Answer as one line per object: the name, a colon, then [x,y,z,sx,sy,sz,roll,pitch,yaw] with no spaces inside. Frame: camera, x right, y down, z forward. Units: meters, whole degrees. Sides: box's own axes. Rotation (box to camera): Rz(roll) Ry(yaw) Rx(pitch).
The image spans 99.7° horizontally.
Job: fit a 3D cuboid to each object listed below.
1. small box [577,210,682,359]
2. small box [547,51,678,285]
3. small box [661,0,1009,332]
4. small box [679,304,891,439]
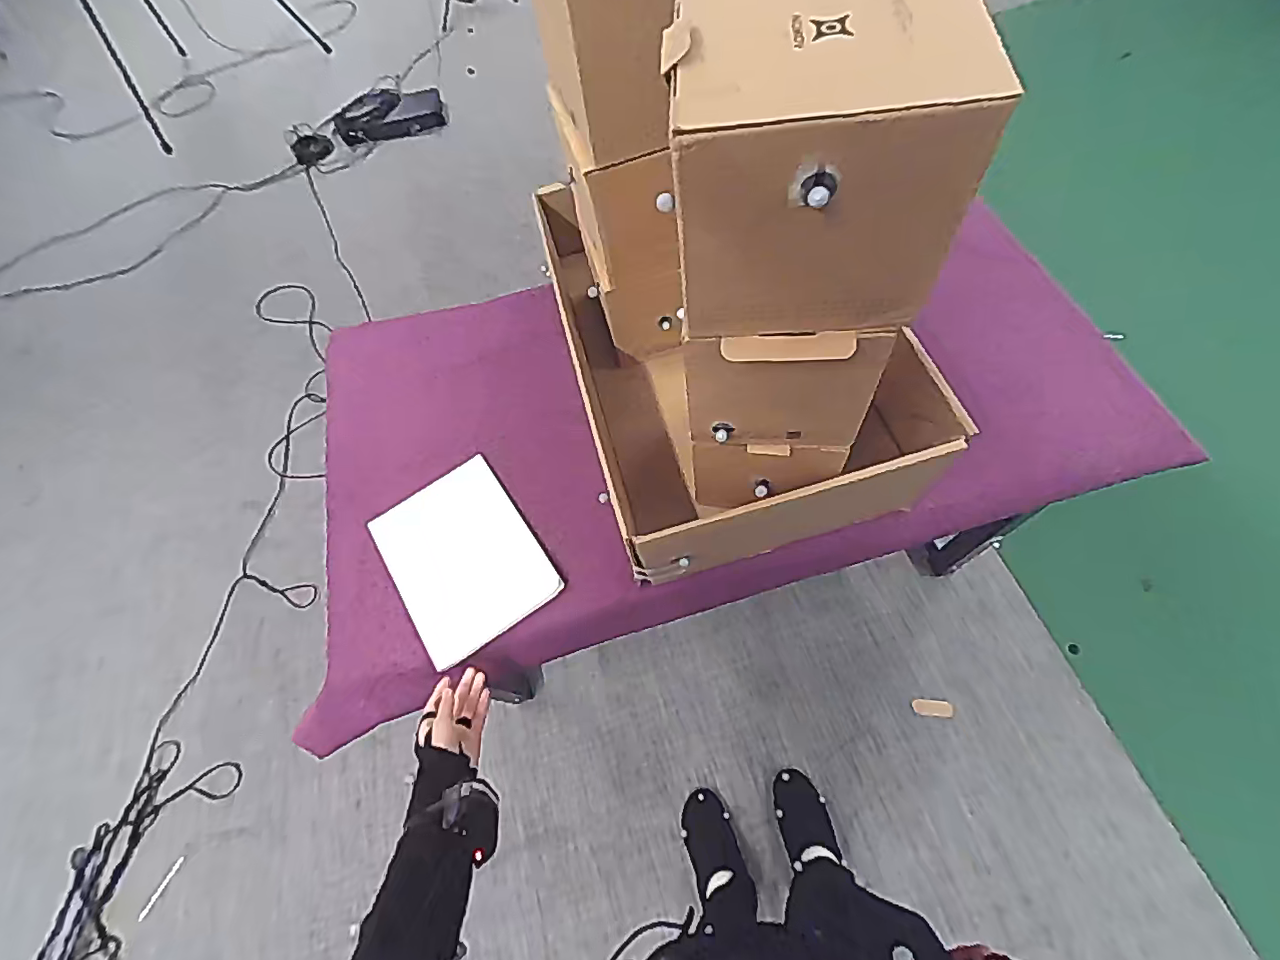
small box: [0.018,-0.303,0.806,0.168,0.176,0.179,-16,65,-1]
small box: [0.006,-0.370,0.659,0.179,0.176,0.168,-19,65,-2]
small box: [0.113,-0.222,0.384,0.179,0.176,0.168,-1,64,8]
small box: [0.132,-0.153,0.529,0.168,0.176,0.179,1,63,10]
